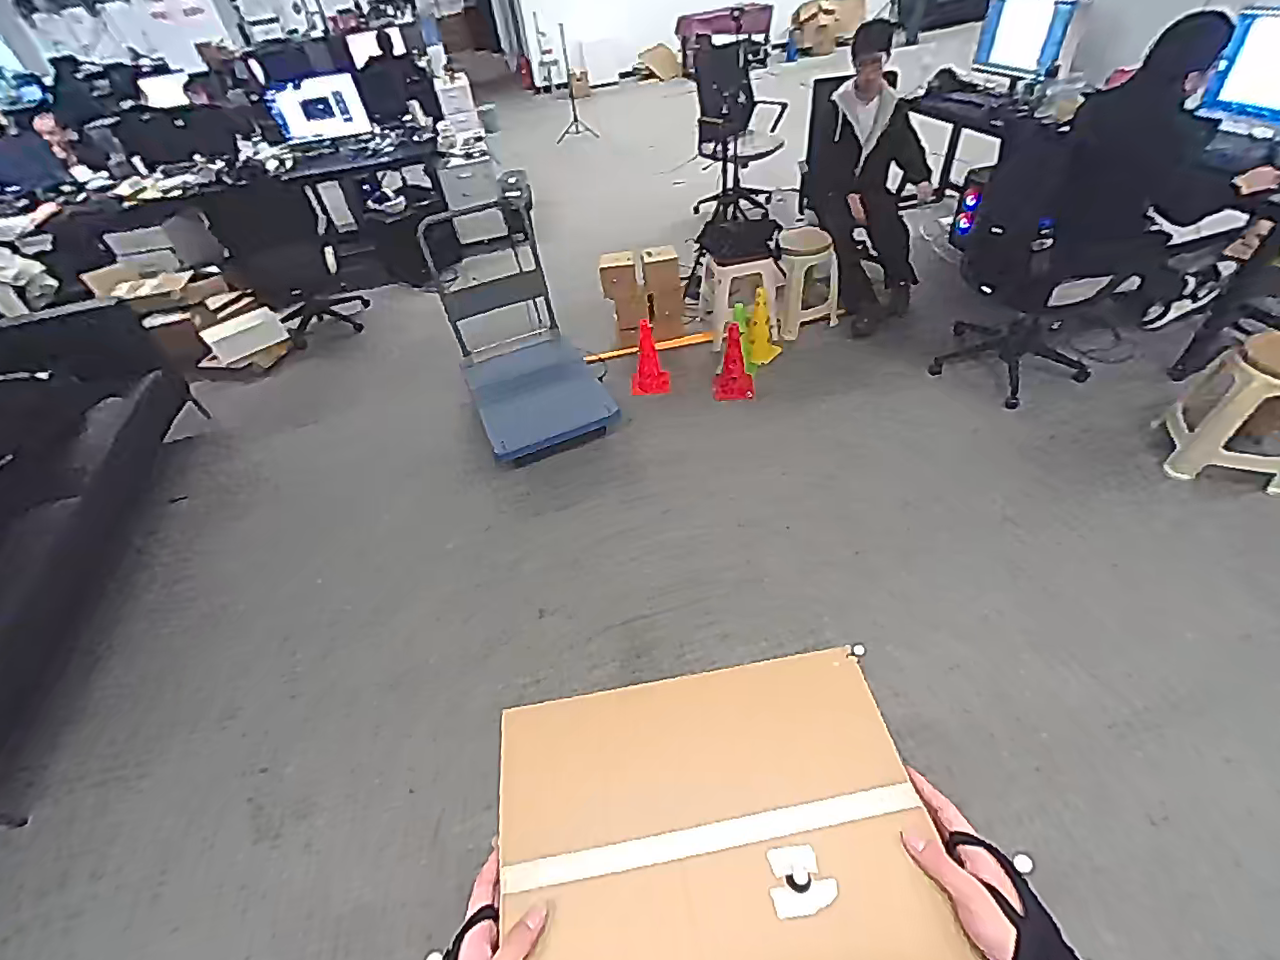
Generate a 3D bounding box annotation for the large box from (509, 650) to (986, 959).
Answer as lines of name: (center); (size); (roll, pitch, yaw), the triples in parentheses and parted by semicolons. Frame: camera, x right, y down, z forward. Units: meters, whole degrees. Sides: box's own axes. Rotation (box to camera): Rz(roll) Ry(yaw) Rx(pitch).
large box: (0.080, 0.445, 0.632); (0.408, 0.320, 0.320); (-9, 48, -4)
